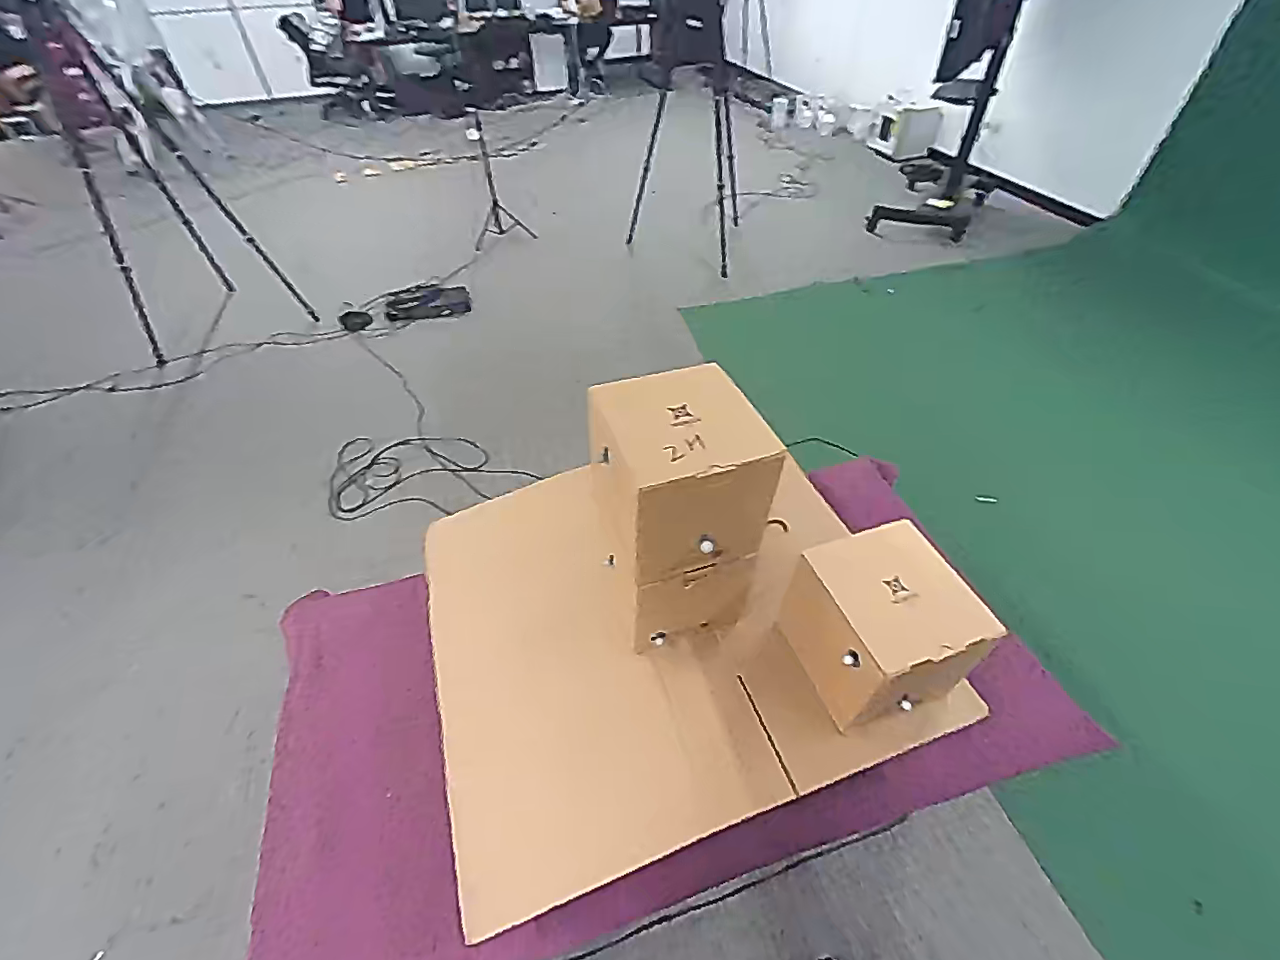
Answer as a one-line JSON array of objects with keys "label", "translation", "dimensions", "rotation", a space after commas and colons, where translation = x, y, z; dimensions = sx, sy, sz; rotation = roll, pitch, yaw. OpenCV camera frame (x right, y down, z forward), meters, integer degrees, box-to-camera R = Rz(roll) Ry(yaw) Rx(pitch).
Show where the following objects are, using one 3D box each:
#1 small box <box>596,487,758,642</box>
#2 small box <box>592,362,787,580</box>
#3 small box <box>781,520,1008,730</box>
[{"label": "small box", "translation": [0.043, 0.104, 0.757], "dimensions": [0.168, 0.176, 0.179], "rotation": [-13, 47, -15]}, {"label": "small box", "translation": [0.044, -0.012, 0.641], "dimensions": [0.168, 0.176, 0.179], "rotation": [-14, 48, -14]}, {"label": "small box", "translation": [0.302, 0.183, 0.689], "dimensions": [0.168, 0.176, 0.179], "rotation": [-14, 49, -14]}]
